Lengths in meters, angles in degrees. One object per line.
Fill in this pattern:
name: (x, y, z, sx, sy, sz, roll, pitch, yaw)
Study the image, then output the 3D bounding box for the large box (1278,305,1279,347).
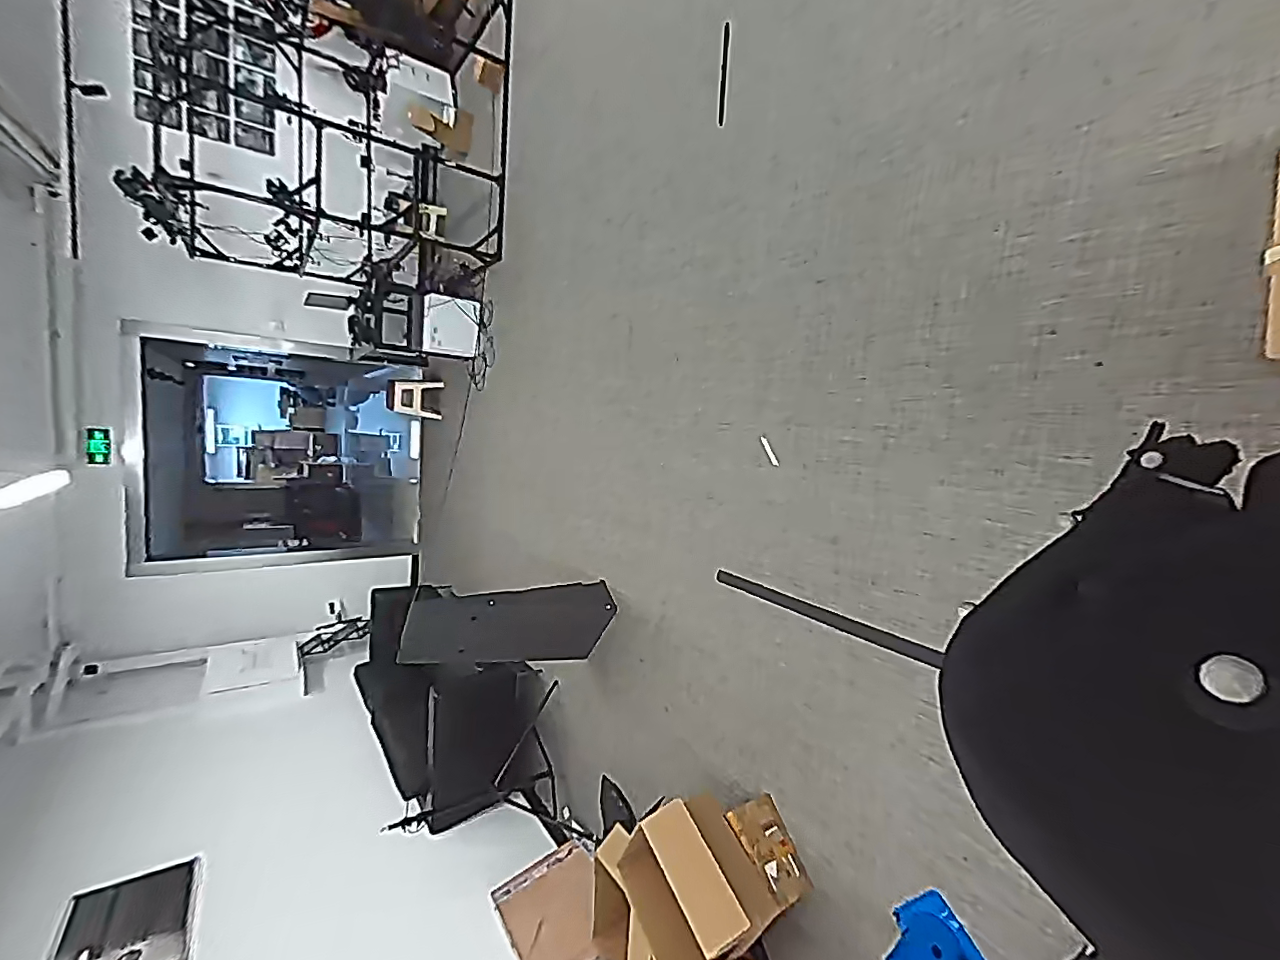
large box: (1.183, -0.333, 0.720, 0.408, 0.320, 0.320, 6, 95, 55)
